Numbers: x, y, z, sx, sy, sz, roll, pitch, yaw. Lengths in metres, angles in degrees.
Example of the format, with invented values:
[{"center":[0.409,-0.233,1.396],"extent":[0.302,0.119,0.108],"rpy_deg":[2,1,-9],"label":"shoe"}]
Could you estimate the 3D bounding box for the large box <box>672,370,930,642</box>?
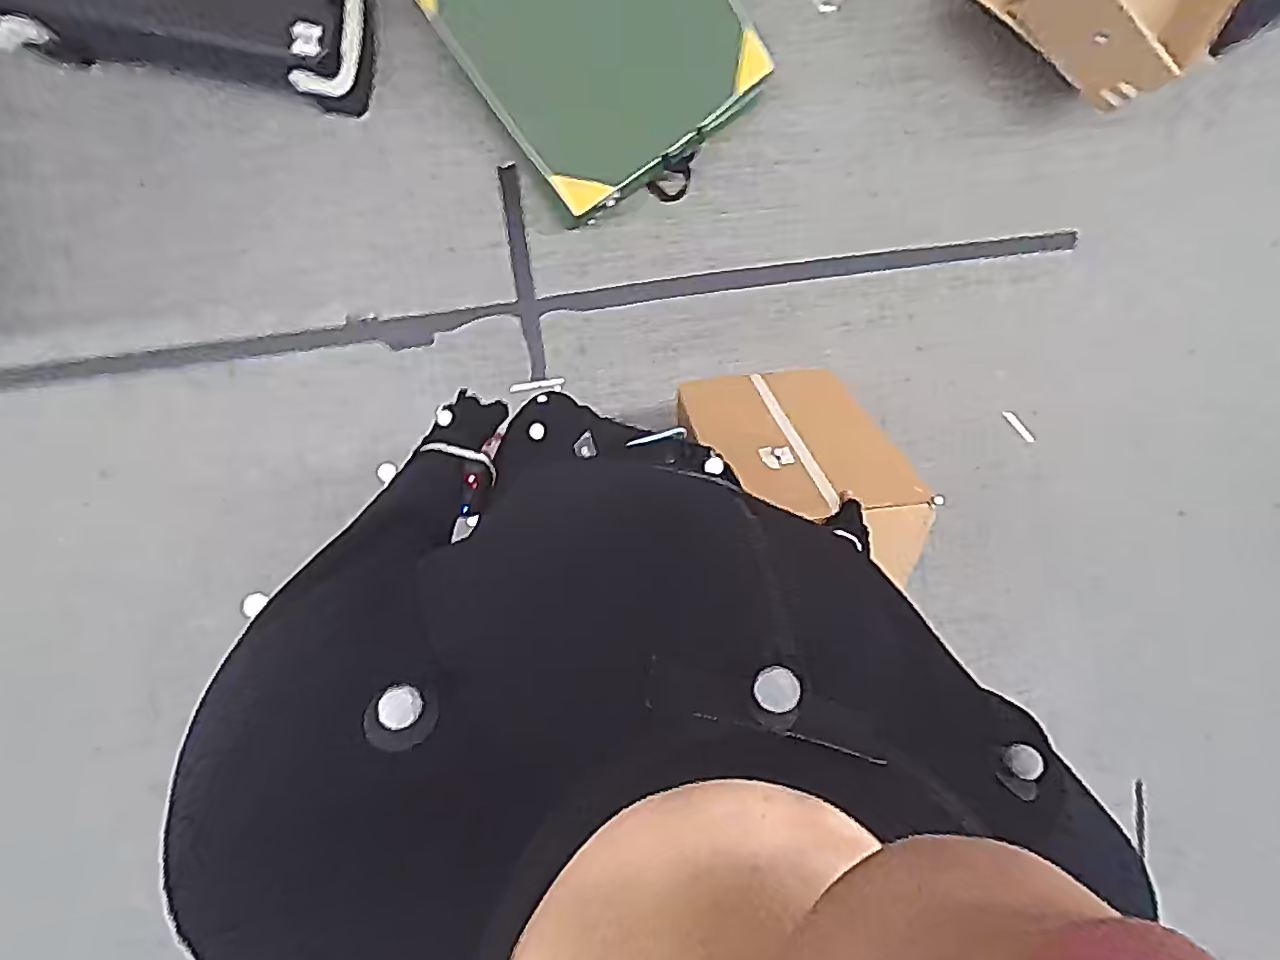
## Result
[{"center":[0.251,0.035,1.026],"extent":[0.320,0.408,0.320],"rpy_deg":[-7,132,-5],"label":"large box"}]
